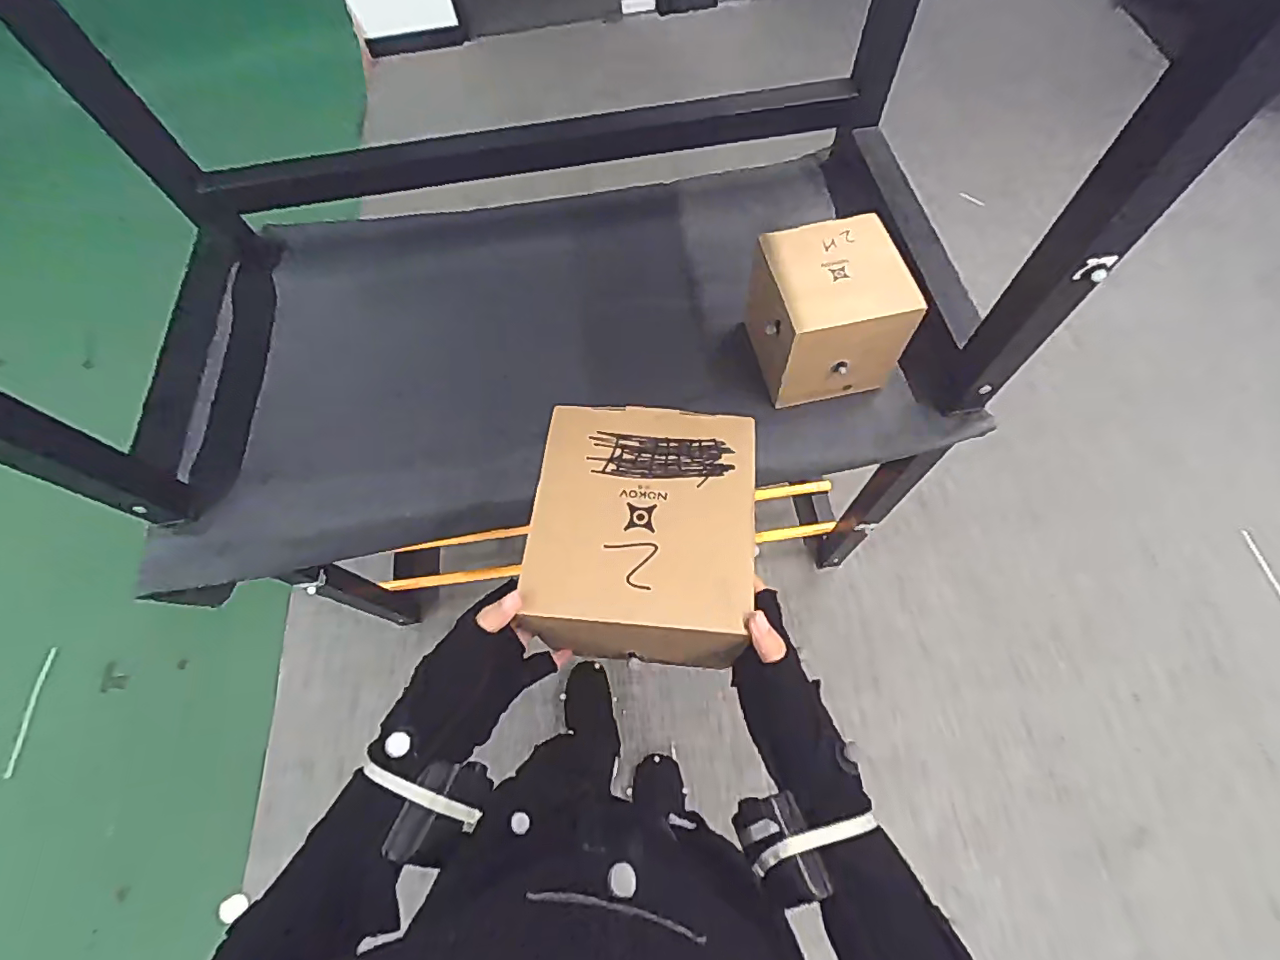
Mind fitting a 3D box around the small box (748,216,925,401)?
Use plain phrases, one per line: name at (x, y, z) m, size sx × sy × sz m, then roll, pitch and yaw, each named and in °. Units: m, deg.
small box at (0.259, -0.228, 0.760) m, size 0.168 × 0.176 × 0.179 m, roll -11°, pitch 64°, yaw -1°
